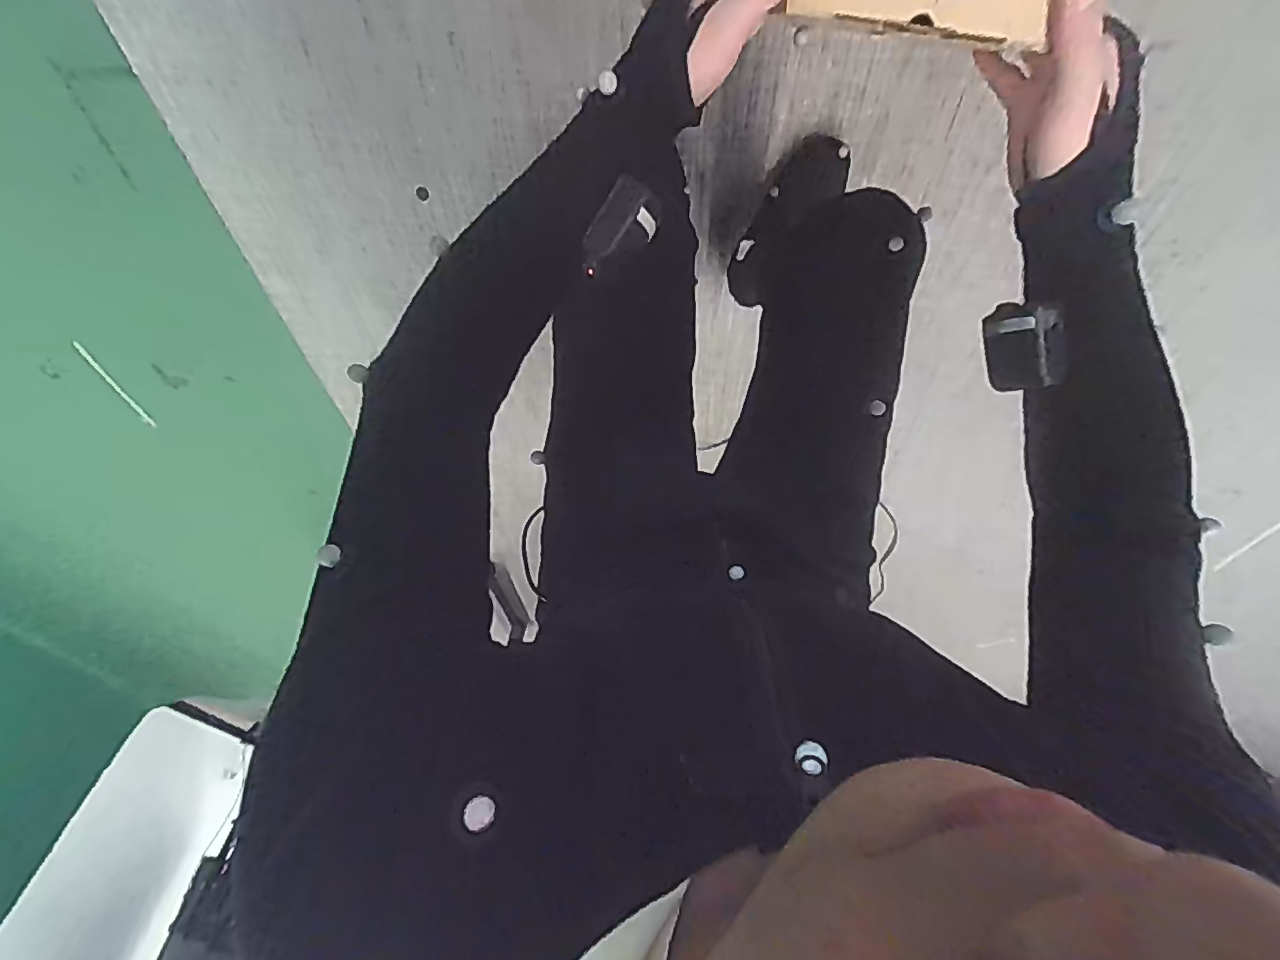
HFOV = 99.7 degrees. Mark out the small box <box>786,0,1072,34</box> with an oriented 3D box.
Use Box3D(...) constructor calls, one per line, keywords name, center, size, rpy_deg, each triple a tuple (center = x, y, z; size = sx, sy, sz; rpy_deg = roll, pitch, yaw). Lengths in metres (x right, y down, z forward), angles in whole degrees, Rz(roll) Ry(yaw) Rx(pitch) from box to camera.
Box3D(name="small box", center=(0.183, -0.391, 0.323), size=(0.168, 0.176, 0.179), rpy_deg=(8, 129, -1))
